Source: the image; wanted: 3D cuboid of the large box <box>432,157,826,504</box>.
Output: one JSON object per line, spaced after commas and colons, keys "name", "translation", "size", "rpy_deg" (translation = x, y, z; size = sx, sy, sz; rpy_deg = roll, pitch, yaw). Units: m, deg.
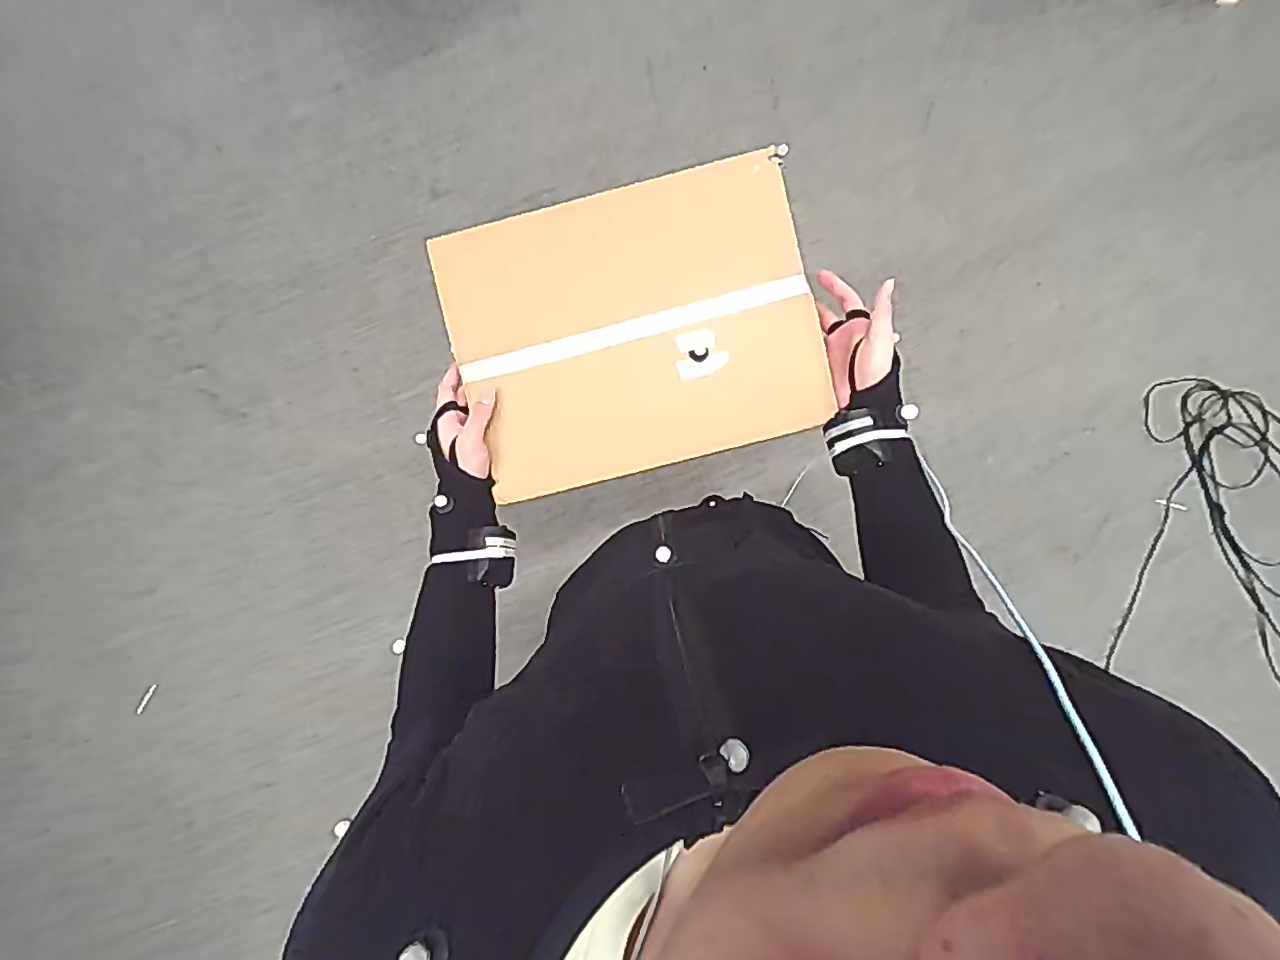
{"name": "large box", "translation": [-0.011, -0.172, 0.771], "size": [0.408, 0.320, 0.320], "rpy_deg": [-15, 92, 2]}
